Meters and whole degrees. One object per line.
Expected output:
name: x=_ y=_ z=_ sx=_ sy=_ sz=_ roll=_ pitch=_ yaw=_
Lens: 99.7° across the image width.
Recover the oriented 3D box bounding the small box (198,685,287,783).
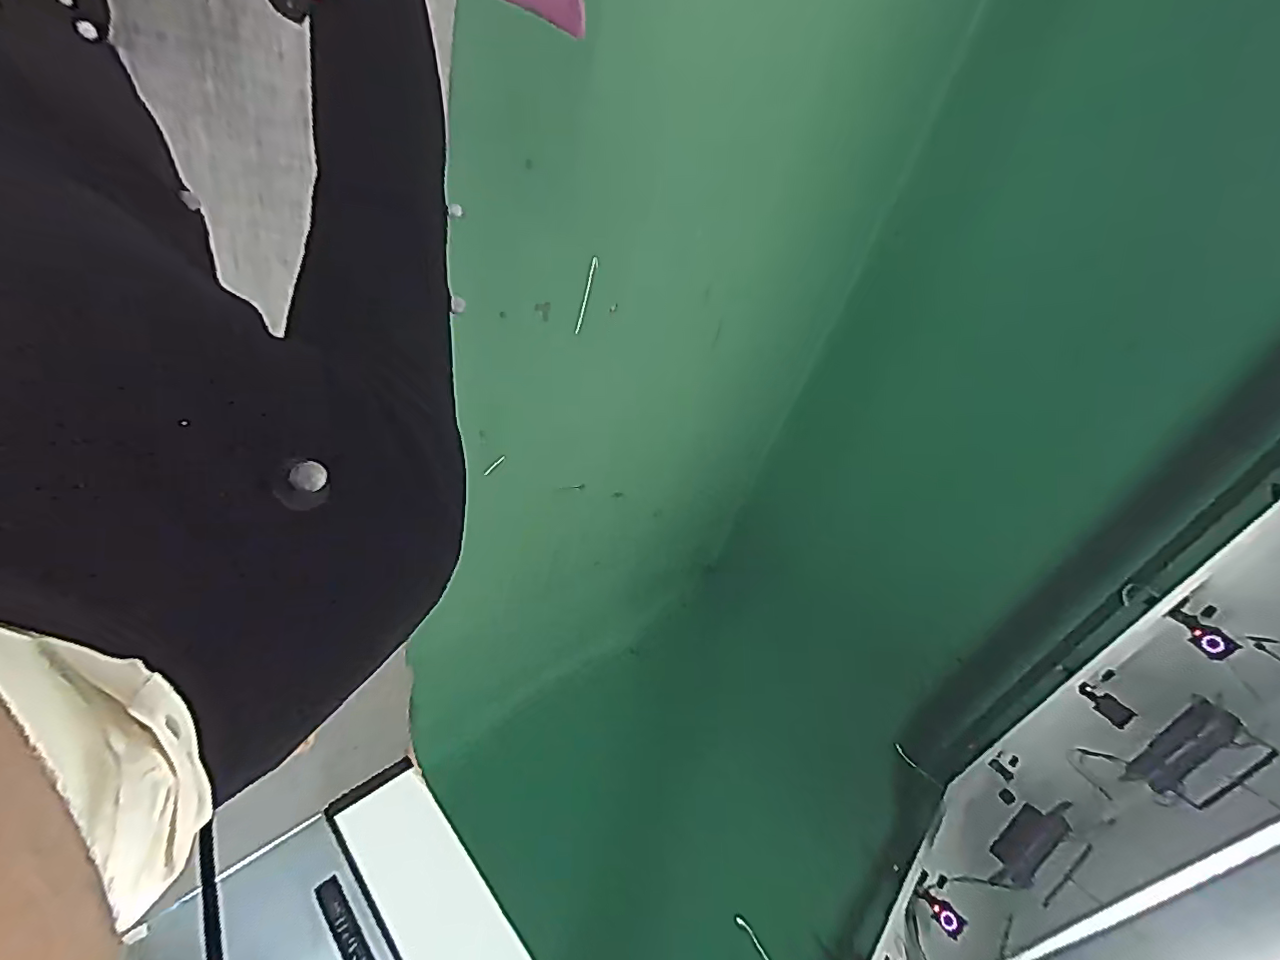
small box: x=-1.206 y=0.761 z=1.640 sx=0.179 sy=0.176 sz=0.168 roll=-16 pitch=136 yaw=-49
